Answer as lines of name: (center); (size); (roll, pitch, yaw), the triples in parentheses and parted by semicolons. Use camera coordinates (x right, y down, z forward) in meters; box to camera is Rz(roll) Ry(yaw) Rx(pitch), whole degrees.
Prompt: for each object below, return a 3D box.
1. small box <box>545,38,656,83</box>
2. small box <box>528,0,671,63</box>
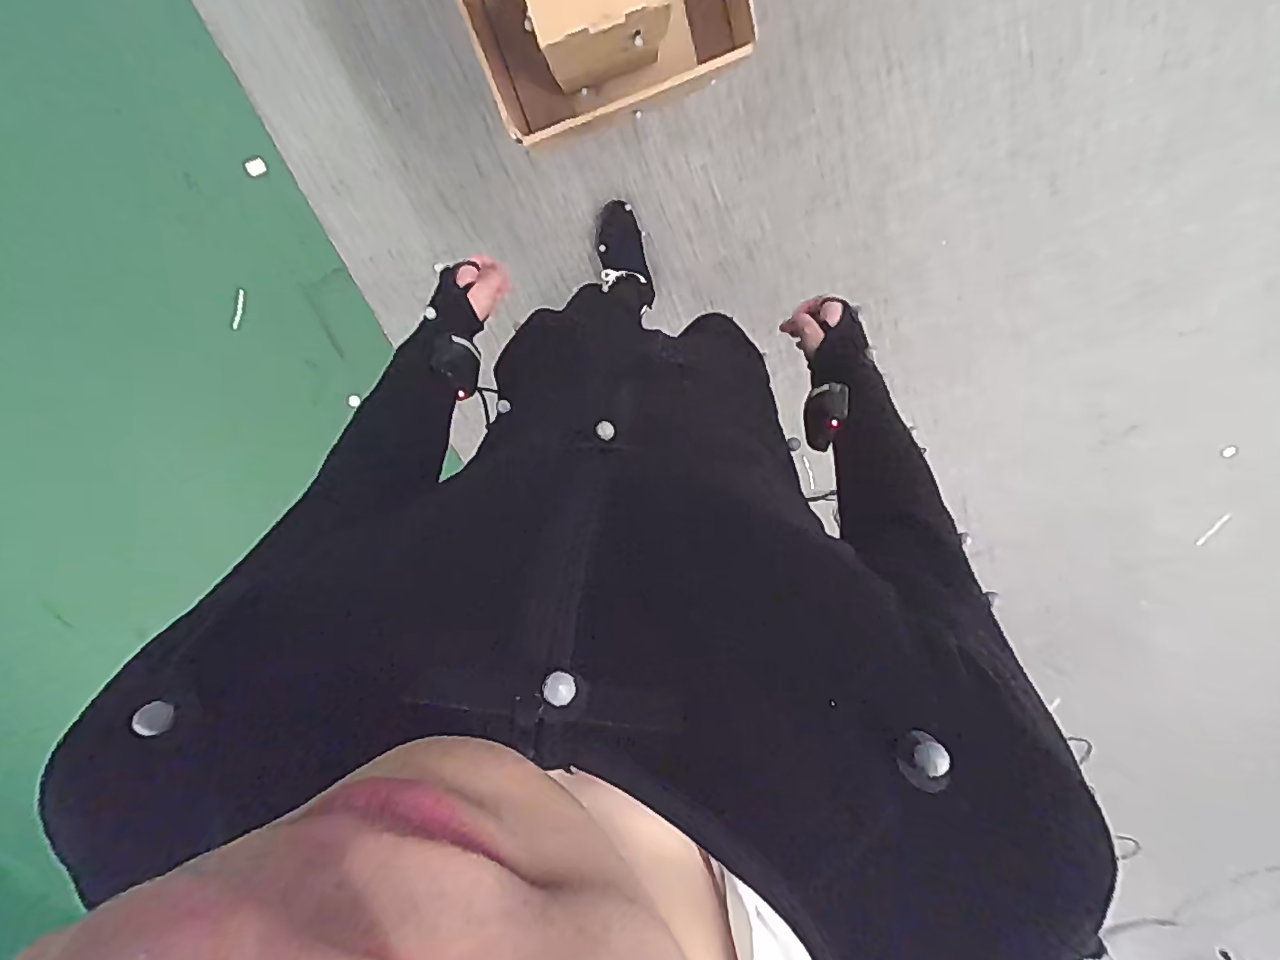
small box: (-0.073, -0.716, 0.795); (0.168, 0.176, 0.179); (-16, 115, 7)
small box: (-0.060, -0.637, 0.653); (0.168, 0.176, 0.179); (-14, 116, 6)
